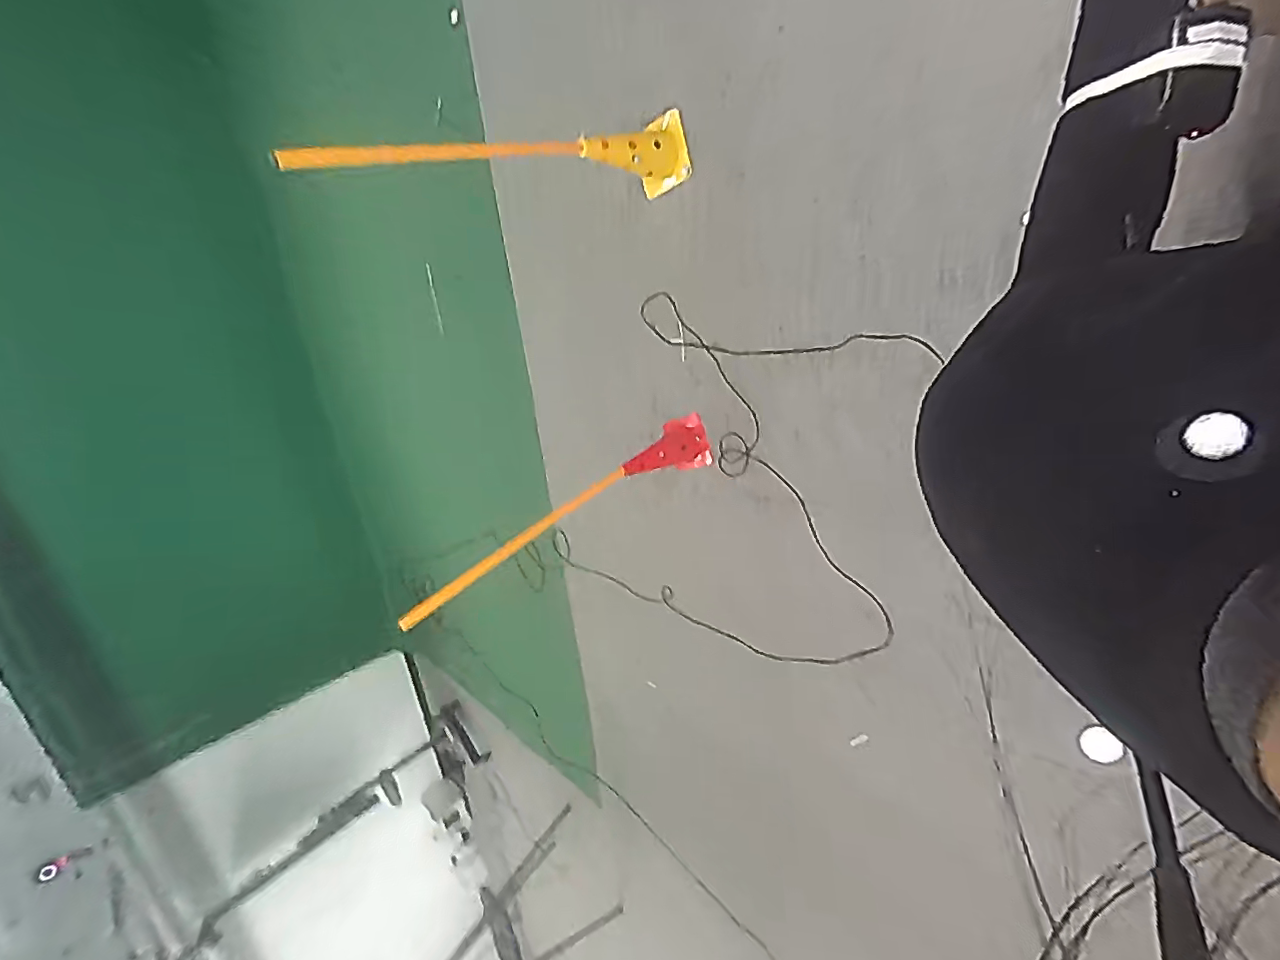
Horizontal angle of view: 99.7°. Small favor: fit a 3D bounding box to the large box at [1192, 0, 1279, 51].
[{"bbox_3d":[0.598,-0.469,0.263,0.408,0.320,0.320,18,123,40],"label":"large box"}]
